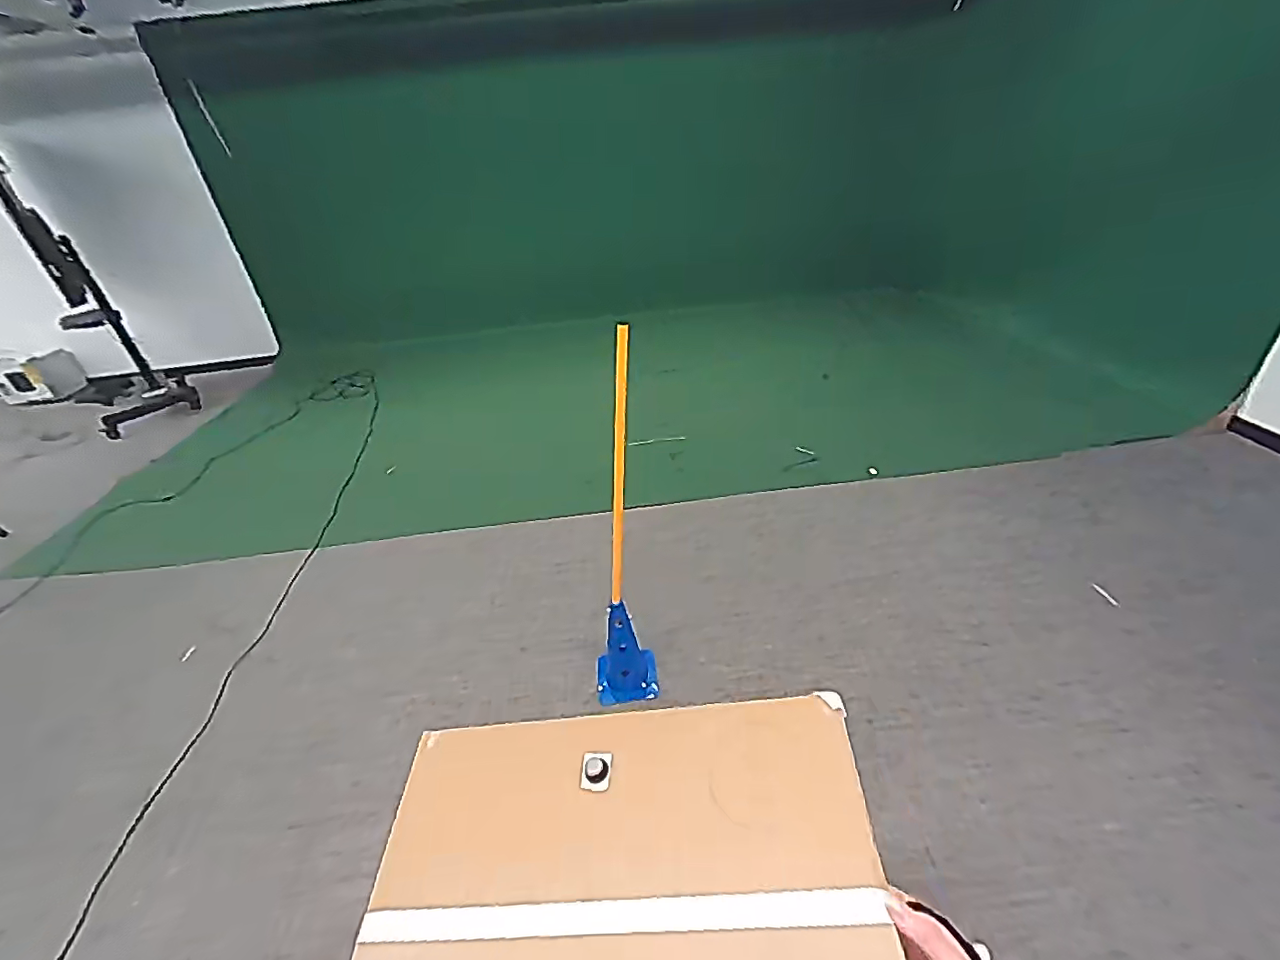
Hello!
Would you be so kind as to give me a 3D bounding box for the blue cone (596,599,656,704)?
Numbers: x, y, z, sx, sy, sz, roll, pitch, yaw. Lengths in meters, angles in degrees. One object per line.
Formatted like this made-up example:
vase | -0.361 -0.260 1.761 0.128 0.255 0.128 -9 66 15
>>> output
blue cone | -0.061 0.524 1.736 0.193 0.380 0.192 -7 32 -4
